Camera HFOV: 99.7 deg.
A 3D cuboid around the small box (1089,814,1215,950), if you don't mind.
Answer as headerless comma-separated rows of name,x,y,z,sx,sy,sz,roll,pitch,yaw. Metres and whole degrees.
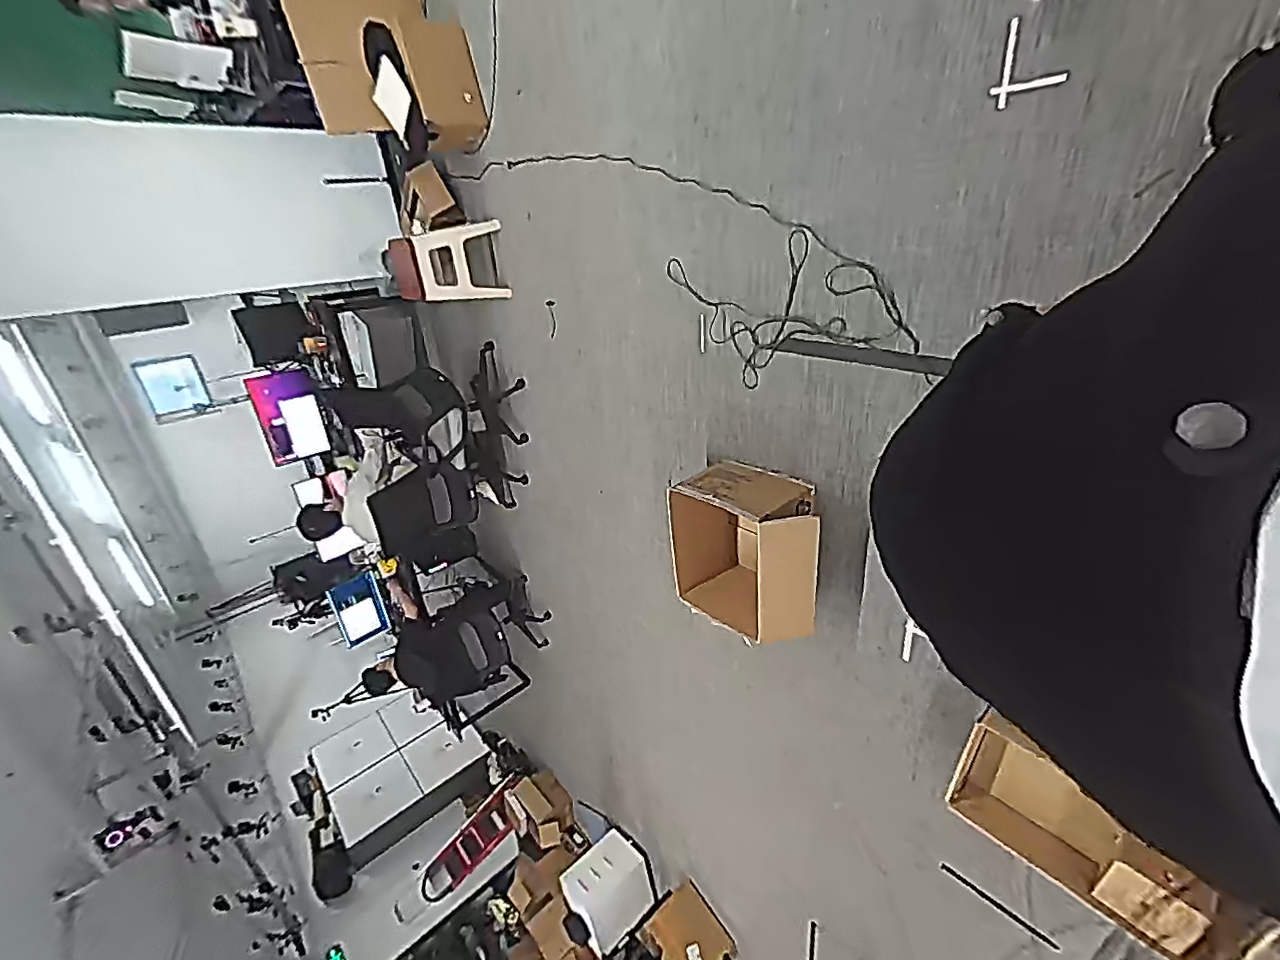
small box,1.279,0.993,1.350,0.179,0.176,0.168,28,128,42
